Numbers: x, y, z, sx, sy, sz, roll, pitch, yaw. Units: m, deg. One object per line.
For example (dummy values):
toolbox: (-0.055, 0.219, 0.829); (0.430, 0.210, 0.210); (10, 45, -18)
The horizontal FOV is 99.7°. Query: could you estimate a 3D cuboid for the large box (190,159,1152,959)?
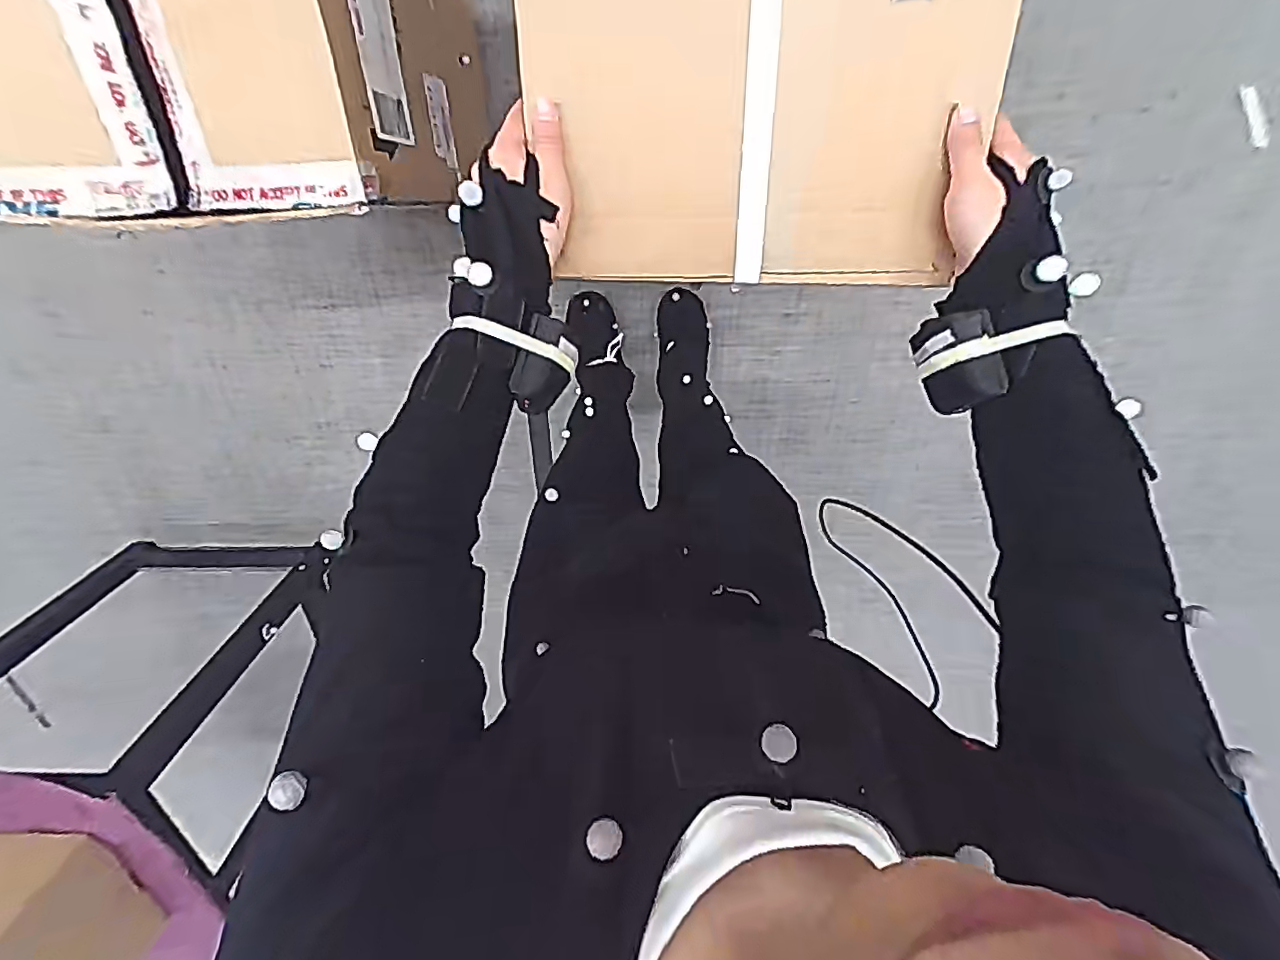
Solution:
large box: (0.048, 0.085, 0.362); (0.320, 0.320, 0.408); (-26, 113, 34)
